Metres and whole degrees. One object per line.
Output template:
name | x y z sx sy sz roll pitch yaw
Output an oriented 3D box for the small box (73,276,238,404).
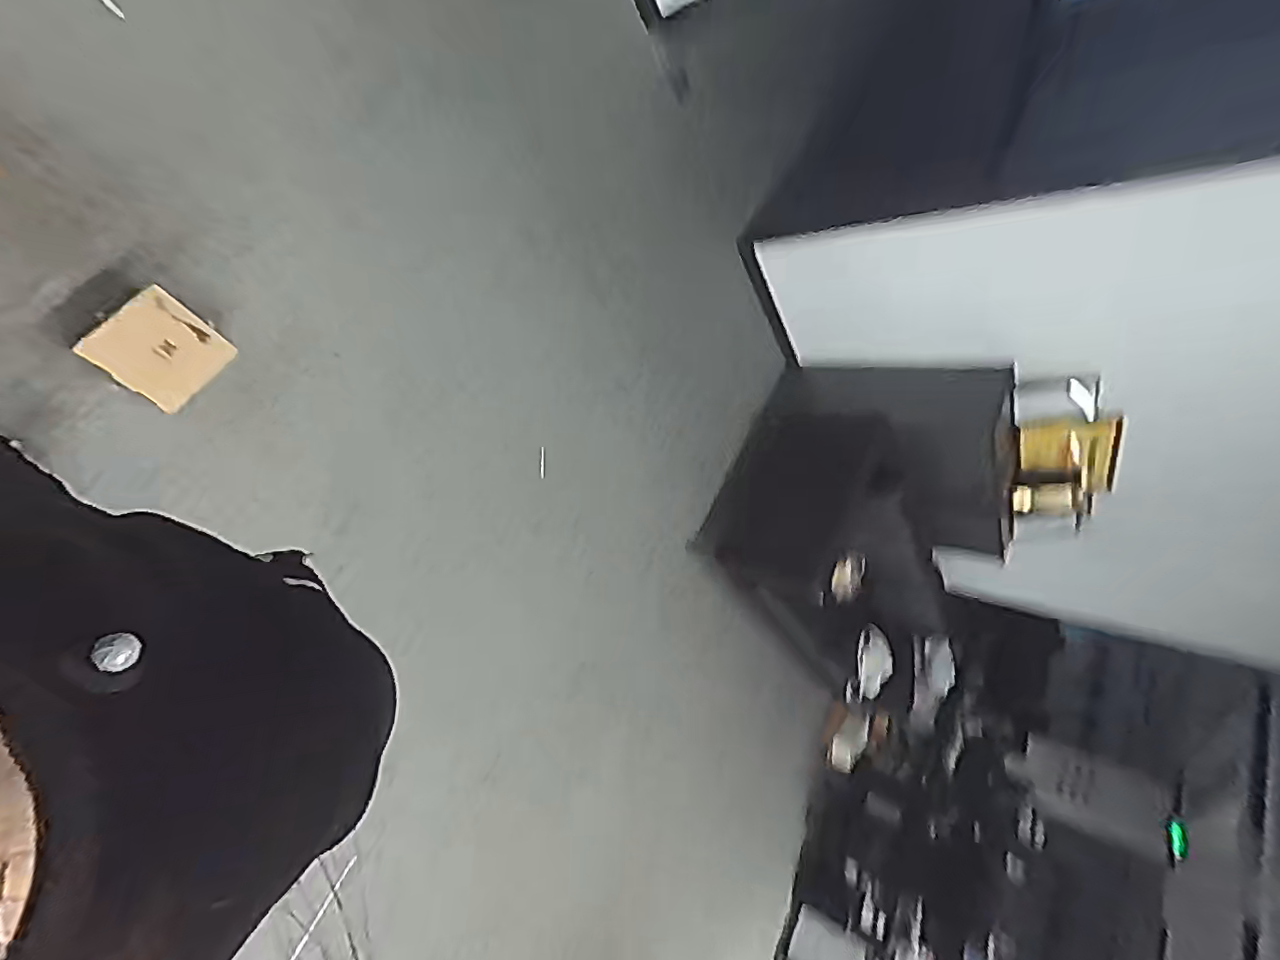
small box | -0.945 -0.271 1.059 0.179 0.176 0.168 -57 135 -22
